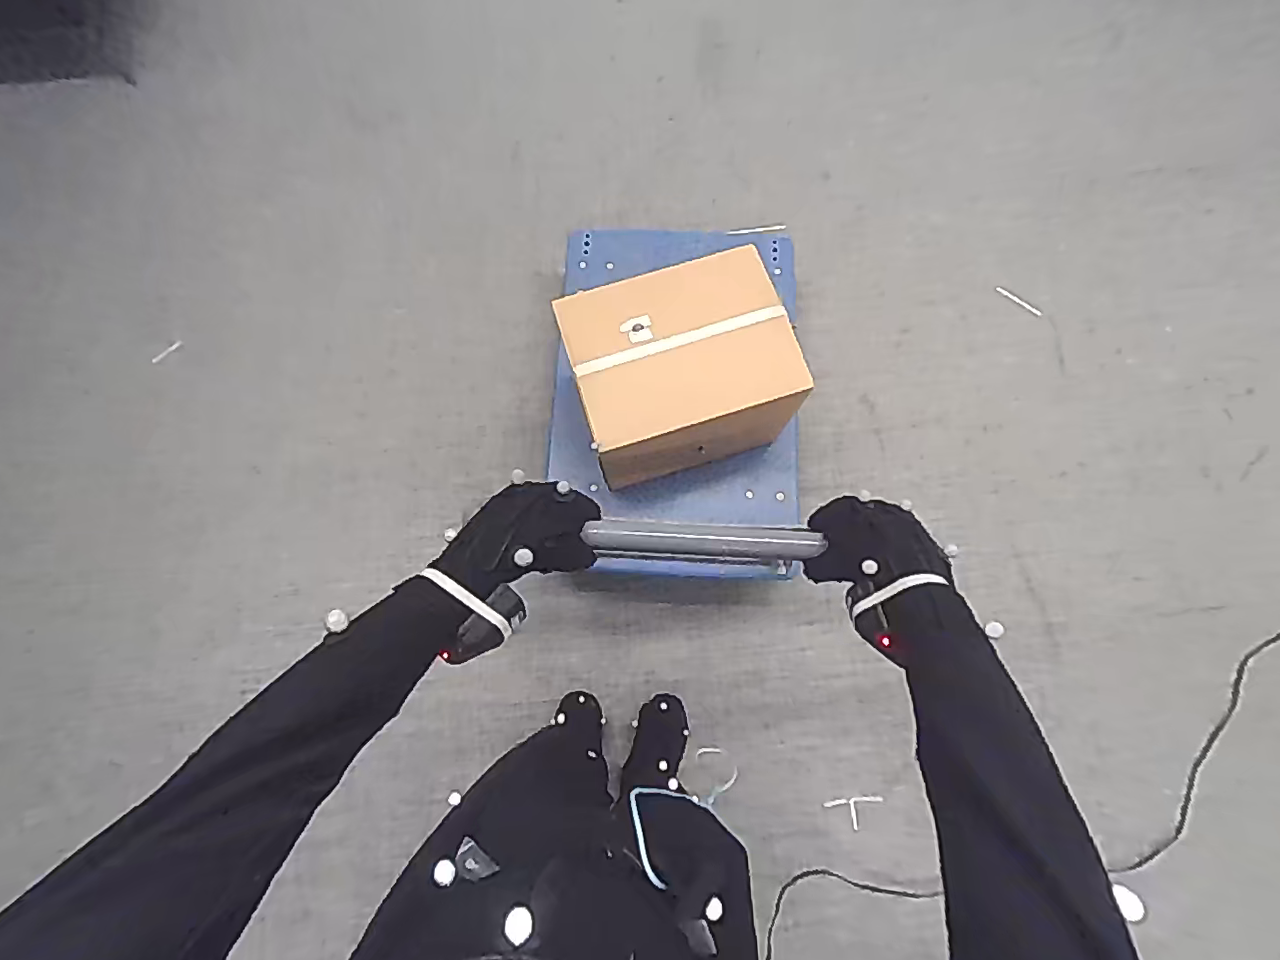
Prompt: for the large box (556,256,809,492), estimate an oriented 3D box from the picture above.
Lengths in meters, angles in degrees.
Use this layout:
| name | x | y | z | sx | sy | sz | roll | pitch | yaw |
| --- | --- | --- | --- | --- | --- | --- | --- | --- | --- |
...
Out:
| name | x | y | z | sx | sy | sz | roll | pitch | yaw |
| --- | --- | --- | --- | --- | --- | --- | --- | --- | --- |
| large box | 0.078 | -0.201 | 1.145 | 0.408 | 0.320 | 0.320 | -18 | 76 | -3 |
